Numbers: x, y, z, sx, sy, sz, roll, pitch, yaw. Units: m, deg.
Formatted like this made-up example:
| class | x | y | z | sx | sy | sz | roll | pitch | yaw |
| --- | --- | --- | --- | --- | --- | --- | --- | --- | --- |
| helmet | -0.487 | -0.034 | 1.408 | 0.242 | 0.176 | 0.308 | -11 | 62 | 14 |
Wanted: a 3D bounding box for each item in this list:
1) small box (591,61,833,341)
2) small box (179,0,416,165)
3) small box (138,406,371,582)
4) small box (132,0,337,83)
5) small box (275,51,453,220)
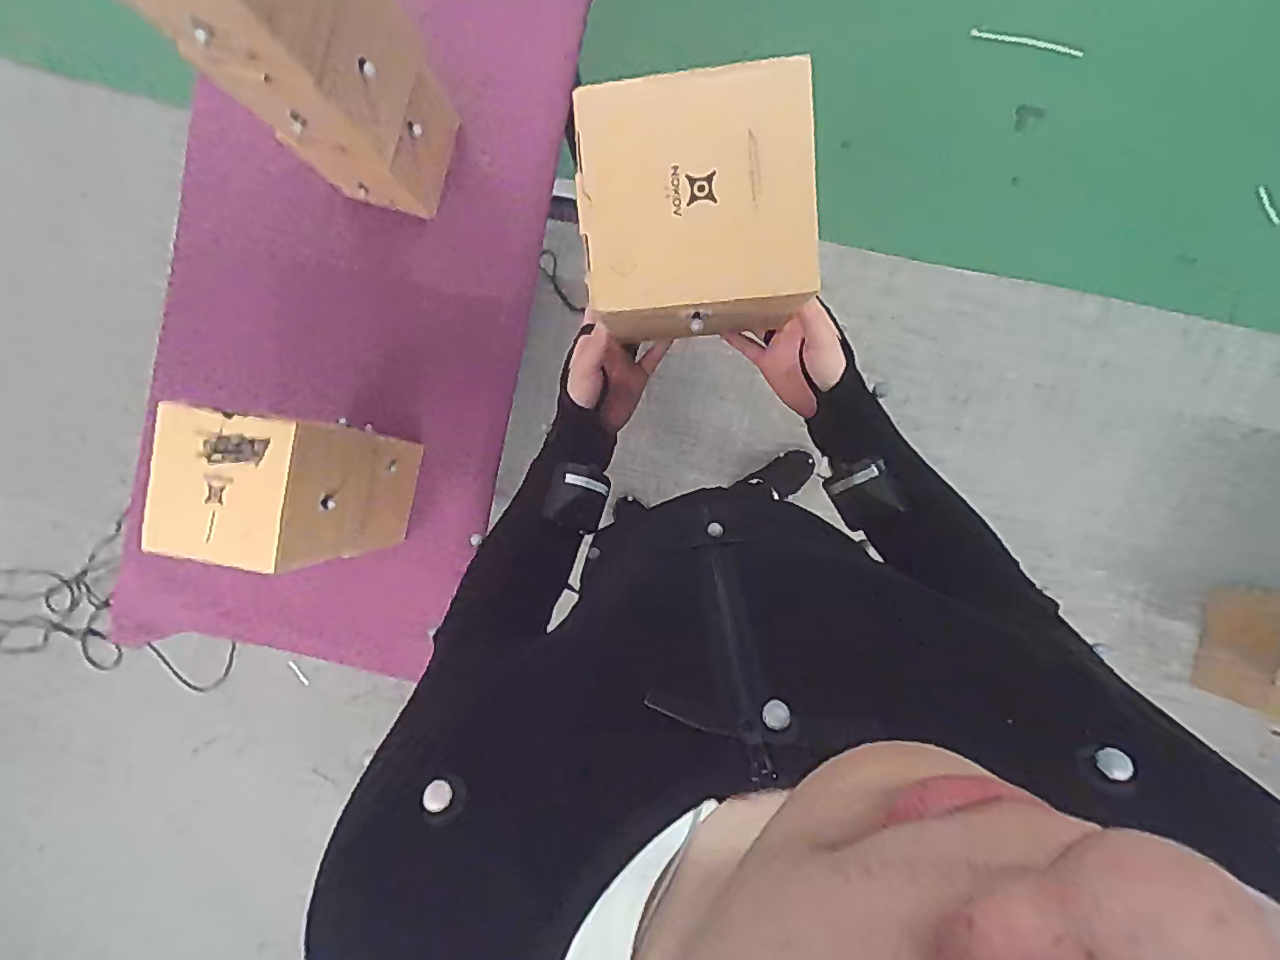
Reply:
| class | x | y | z | sx | sy | sz | roll | pitch | yaw |
| --- | --- | --- | --- | --- | --- | --- | --- | --- | --- |
| small box | 0.060 | -0.222 | 0.480 | 0.179 | 0.176 | 0.168 | -3 | 96 | 5 |
| small box | -0.405 | -0.531 | 0.668 | 0.168 | 0.176 | 0.179 | 17 | 94 | 1 |
| small box | -0.467 | 0.014 | 0.684 | 0.168 | 0.176 | 0.179 | 9 | 92 | 2 |
| small box | -0.406 | -0.529 | 0.503 | 0.168 | 0.176 | 0.179 | 17 | 93 | 2 |
| small box | -0.409 | -0.539 | 0.832 | 0.168 | 0.176 | 0.179 | 17 | 93 | 1 |
